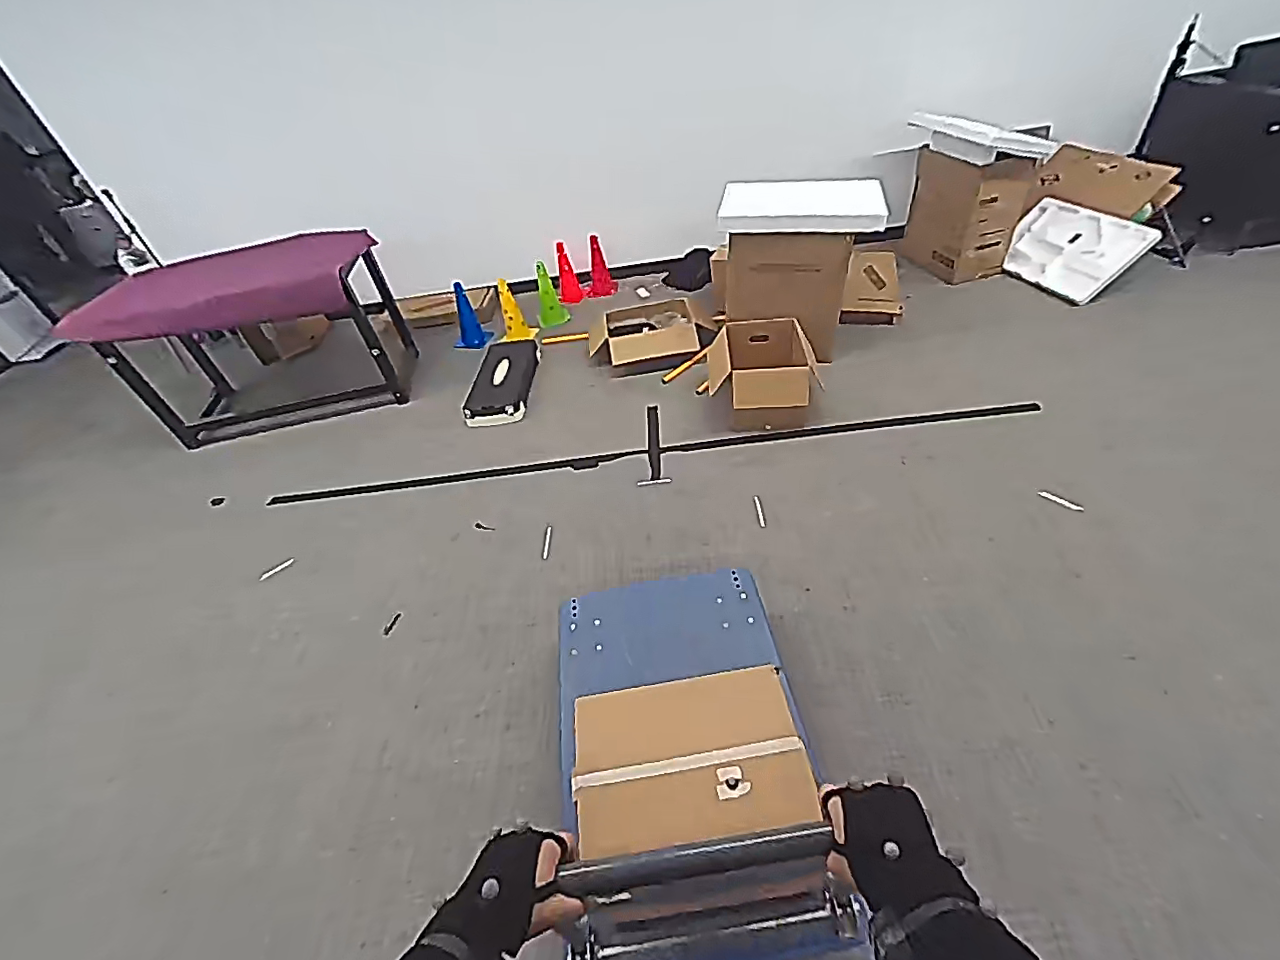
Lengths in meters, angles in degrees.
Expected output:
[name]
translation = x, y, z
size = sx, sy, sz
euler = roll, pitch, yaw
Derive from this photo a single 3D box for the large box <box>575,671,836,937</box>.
[large box]
translation = 0.104, 0.616, 1.032
size = 0.408, 0.320, 0.320
euler = -10, 42, -1
